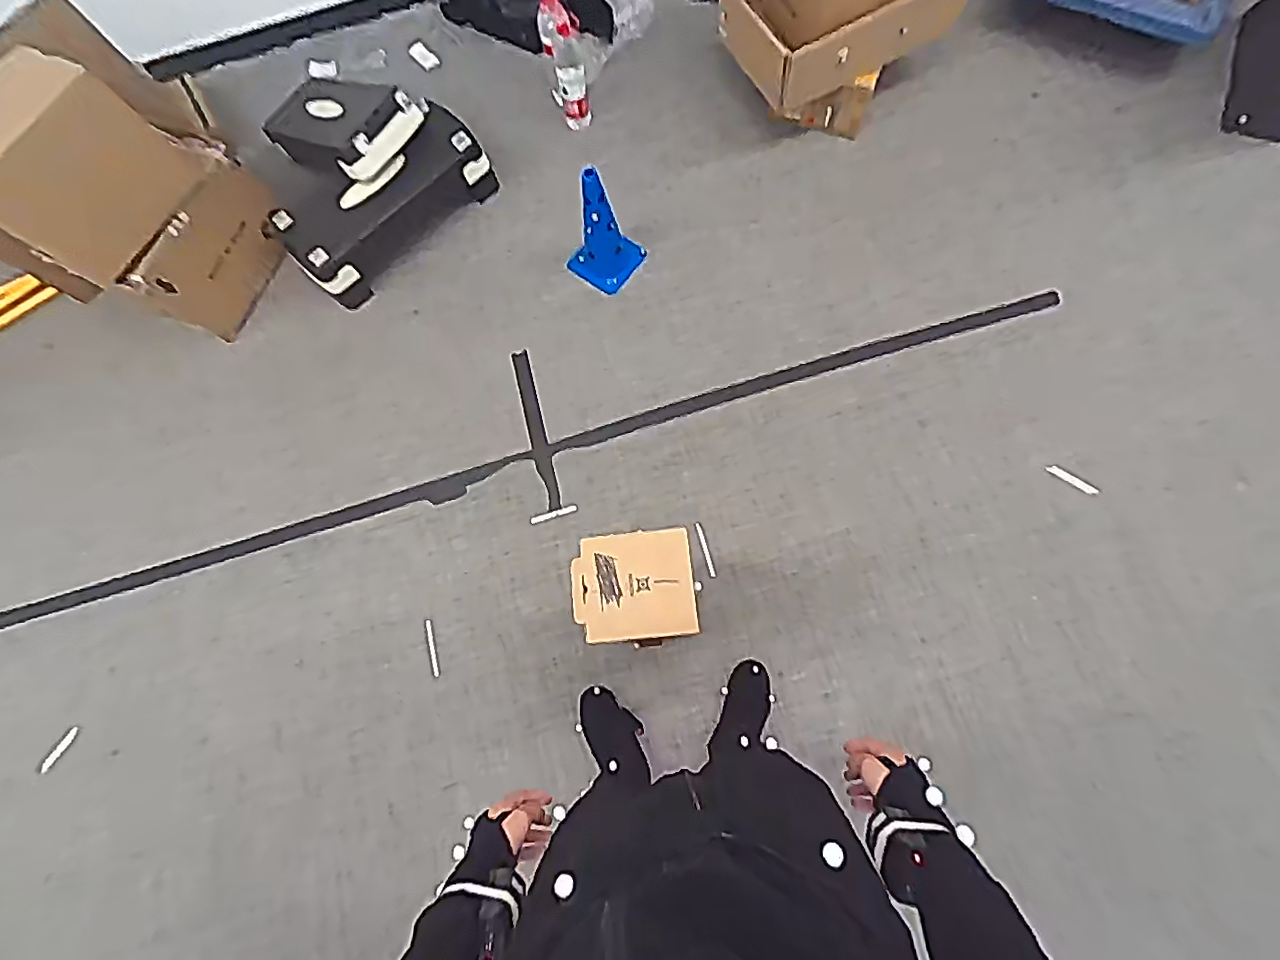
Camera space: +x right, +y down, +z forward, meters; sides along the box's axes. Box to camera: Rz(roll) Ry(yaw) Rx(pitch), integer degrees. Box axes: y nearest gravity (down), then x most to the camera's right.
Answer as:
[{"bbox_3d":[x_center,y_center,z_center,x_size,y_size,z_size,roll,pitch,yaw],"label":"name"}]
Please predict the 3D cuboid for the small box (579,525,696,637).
[{"bbox_3d":[0.000,0.178,0.923,0.179,0.176,0.168,-6,76,2],"label":"small box"}]
